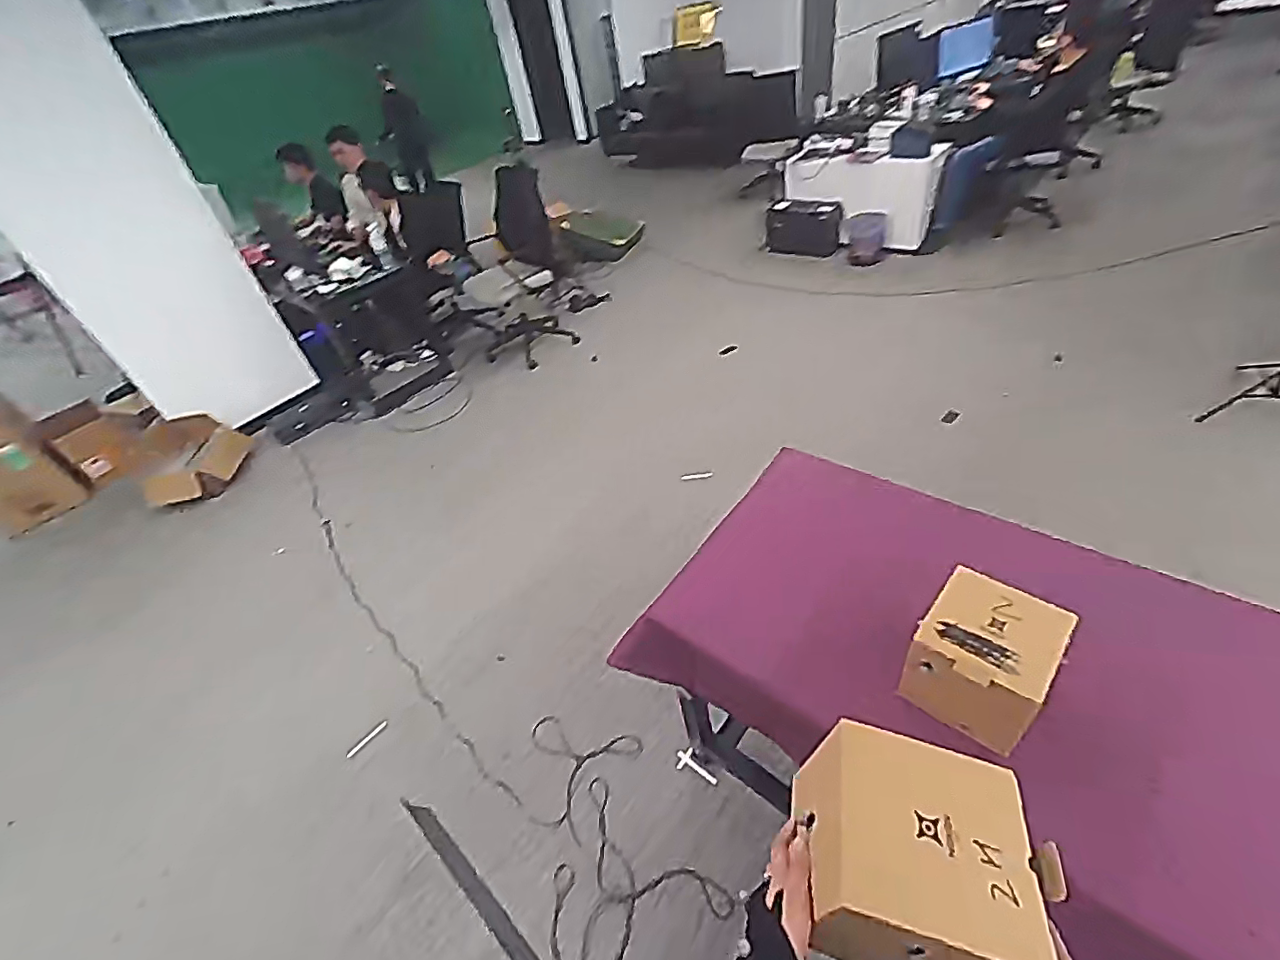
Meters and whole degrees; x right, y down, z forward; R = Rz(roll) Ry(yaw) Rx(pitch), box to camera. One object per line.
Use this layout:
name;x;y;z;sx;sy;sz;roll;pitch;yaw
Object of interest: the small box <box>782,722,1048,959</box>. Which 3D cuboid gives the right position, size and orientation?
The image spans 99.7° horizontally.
small box;0.254;0.383;0.547;0.179;0.176;0.168;16;42;6
